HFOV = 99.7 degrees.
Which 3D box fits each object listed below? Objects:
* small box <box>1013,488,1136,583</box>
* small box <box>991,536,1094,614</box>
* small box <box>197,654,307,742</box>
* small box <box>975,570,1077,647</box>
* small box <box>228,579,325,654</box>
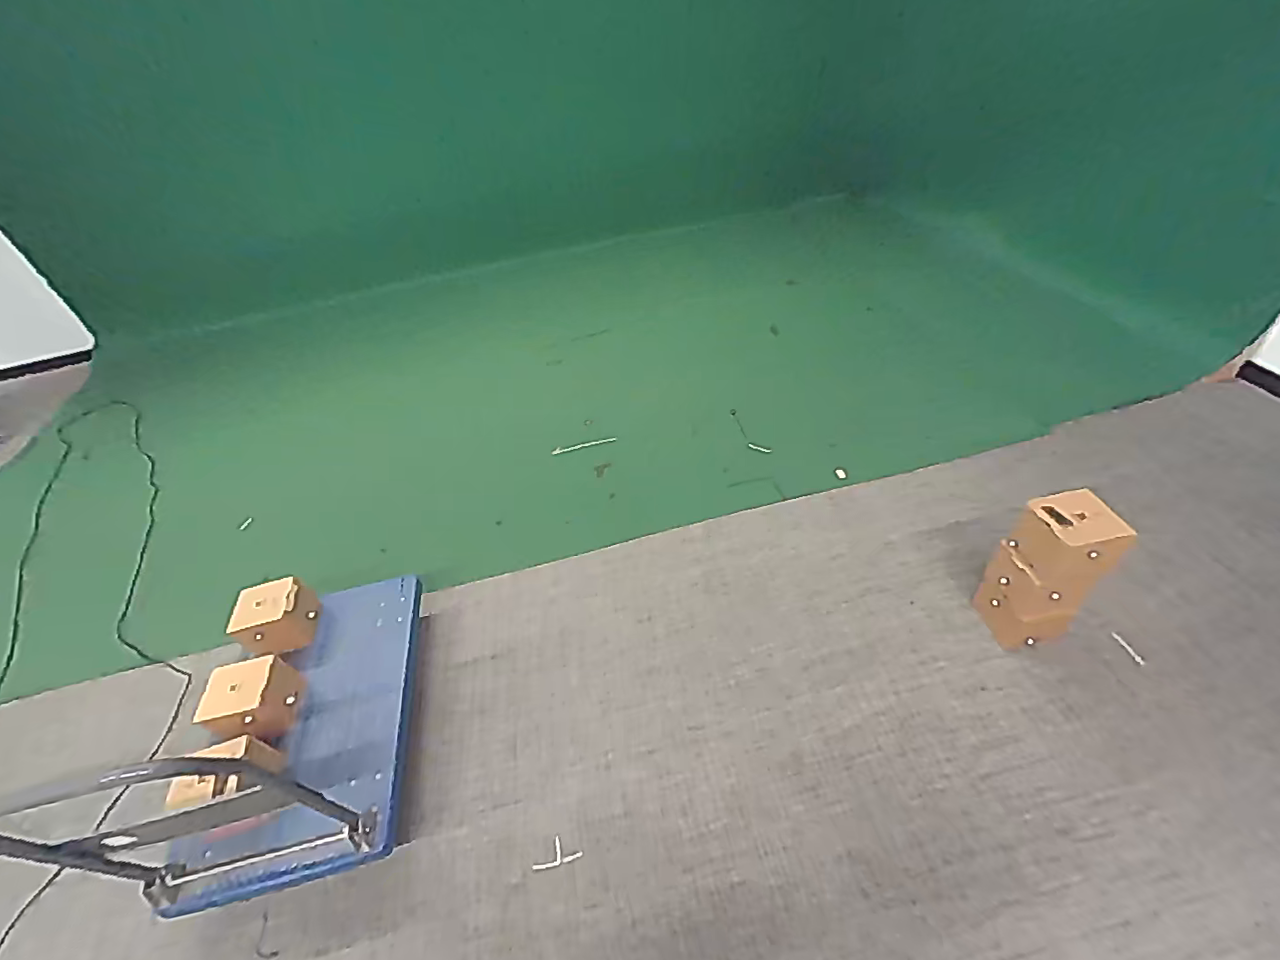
[{"bbox_3d":[1.128,0.150,1.427,0.179,0.176,0.168,-11,43,-1],"label":"small box"},{"bbox_3d":[1.141,0.263,1.547,0.179,0.176,0.168,-12,43,1],"label":"small box"},{"bbox_3d":[-1.114,0.636,1.569,0.179,0.176,0.168,-12,44,-4],"label":"small box"},{"bbox_3d":[1.168,0.382,1.656,0.168,0.176,0.179,-11,44,1],"label":"small box"},{"bbox_3d":[-1.175,0.449,1.763,0.179,0.176,0.168,-9,47,0],"label":"small box"}]
